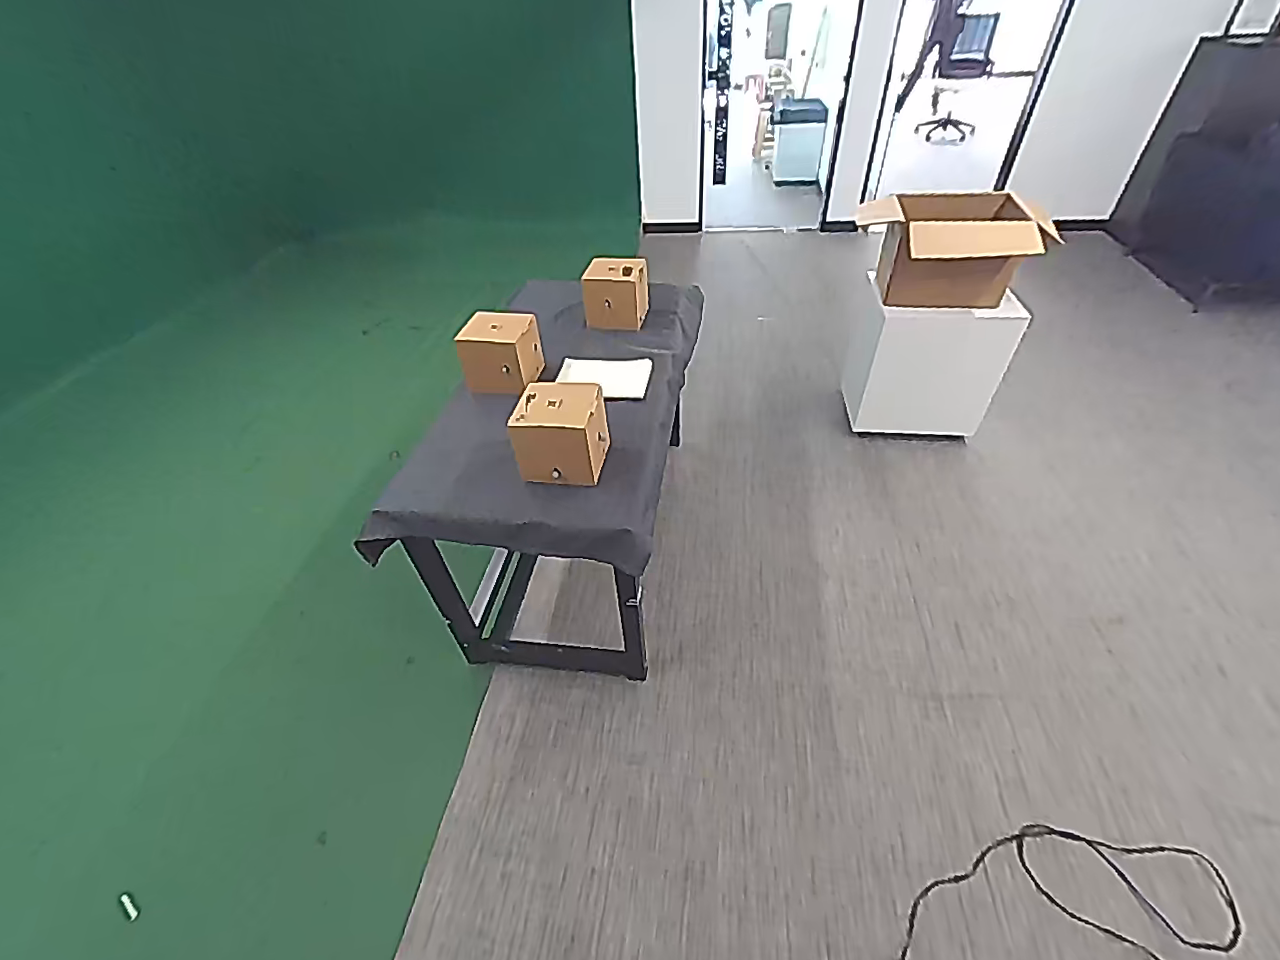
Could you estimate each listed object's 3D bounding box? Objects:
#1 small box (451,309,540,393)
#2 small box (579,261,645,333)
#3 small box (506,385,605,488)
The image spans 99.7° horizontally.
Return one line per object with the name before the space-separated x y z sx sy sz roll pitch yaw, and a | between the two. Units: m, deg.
small box | -0.393 -0.358 1.510 0.179 0.176 0.168 4 43 9
small box | -0.083 -0.594 1.757 0.179 0.176 0.168 6 44 11
small box | -0.182 -0.098 1.242 0.179 0.176 0.168 4 43 8
